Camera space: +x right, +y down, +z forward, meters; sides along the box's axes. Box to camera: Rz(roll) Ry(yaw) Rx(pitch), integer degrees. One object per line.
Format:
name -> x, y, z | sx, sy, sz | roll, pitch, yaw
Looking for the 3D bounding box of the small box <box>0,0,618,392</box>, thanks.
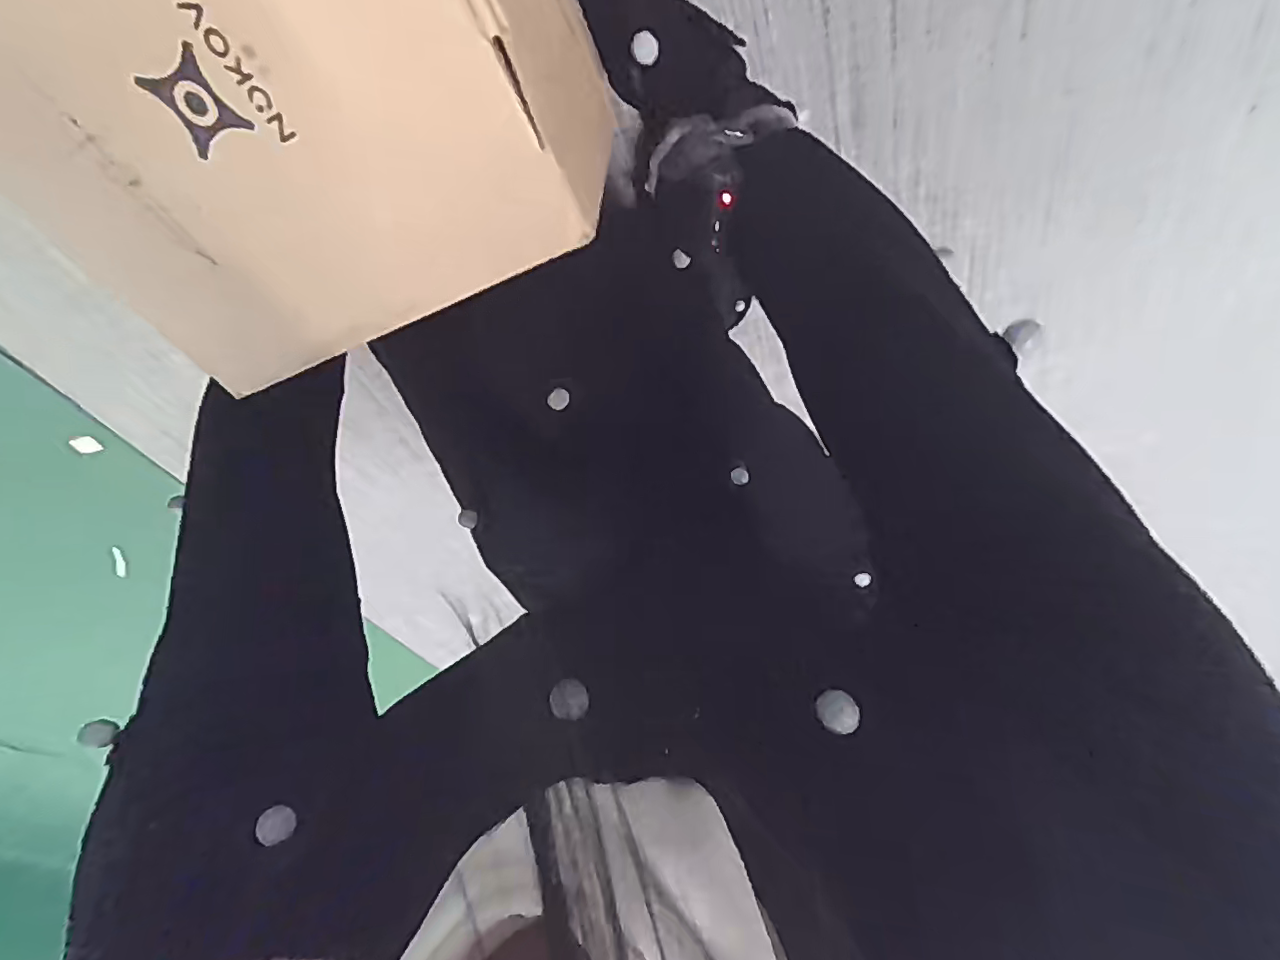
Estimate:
small box -> -0.118, -0.169, 0.220 | 0.179, 0.176, 0.168 | -14, 132, 20
